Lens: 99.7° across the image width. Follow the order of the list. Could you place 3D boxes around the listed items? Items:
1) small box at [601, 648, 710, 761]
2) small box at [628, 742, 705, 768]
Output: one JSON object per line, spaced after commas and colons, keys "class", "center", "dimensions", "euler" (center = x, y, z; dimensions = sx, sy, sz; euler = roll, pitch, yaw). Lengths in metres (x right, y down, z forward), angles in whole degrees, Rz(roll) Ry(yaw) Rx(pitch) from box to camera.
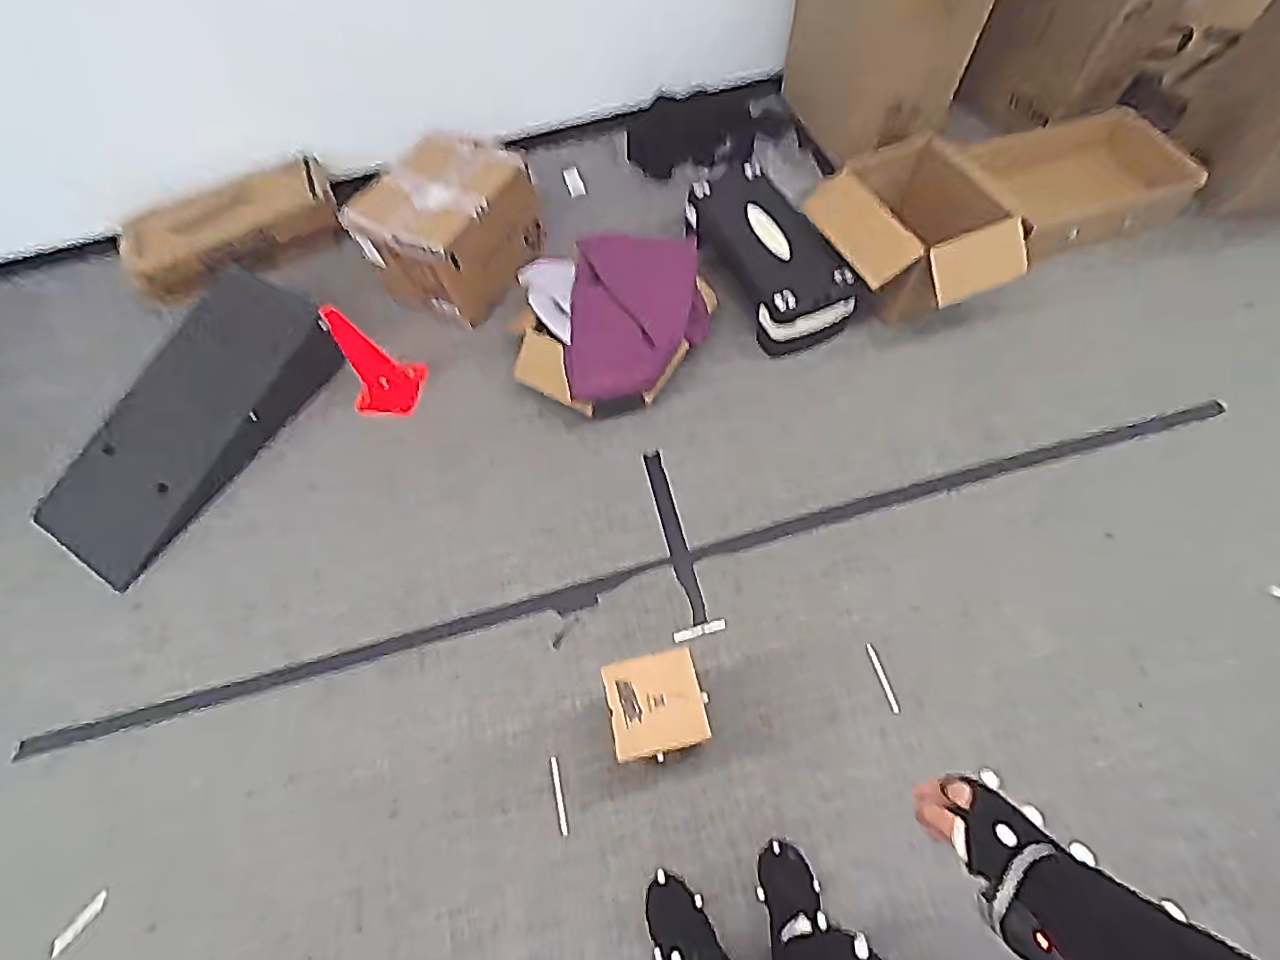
{"class": "small box", "center": [0.033, 0.446, 1.062], "dimensions": [0.179, 0.176, 0.168], "euler": [-13, 63, -2]}
{"class": "small box", "center": [0.046, 0.526, 1.207], "dimensions": [0.168, 0.176, 0.179], "euler": [-13, 64, -1]}
